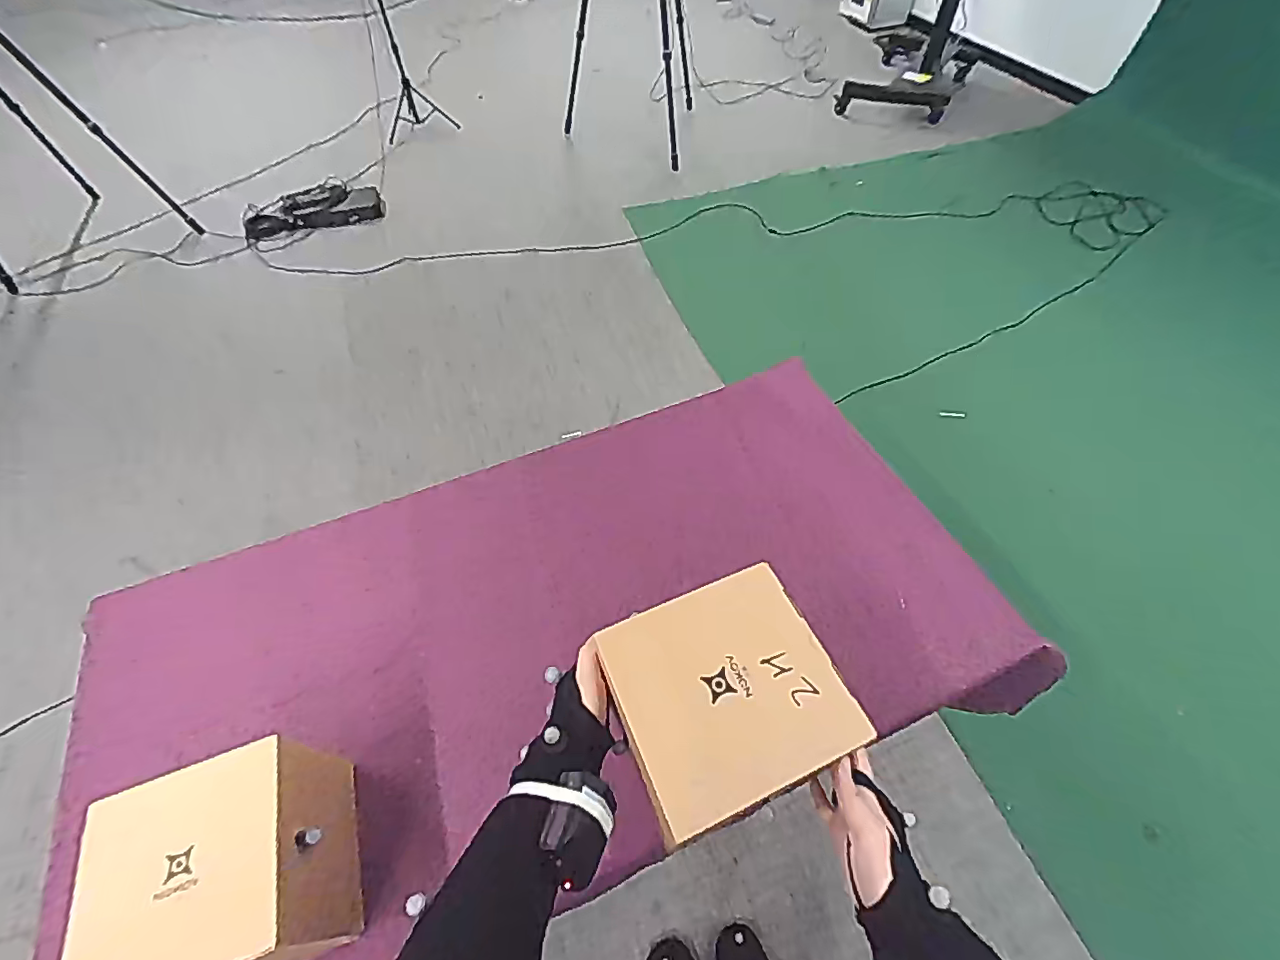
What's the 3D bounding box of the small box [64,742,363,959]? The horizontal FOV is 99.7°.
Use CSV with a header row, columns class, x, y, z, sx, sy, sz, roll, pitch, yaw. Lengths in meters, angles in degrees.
class,x,y,z,sx,sy,sz,roll,pitch,yaw
small box,-0.394,0.391,0.530,0.168,0.176,0.179,-19,57,-12
